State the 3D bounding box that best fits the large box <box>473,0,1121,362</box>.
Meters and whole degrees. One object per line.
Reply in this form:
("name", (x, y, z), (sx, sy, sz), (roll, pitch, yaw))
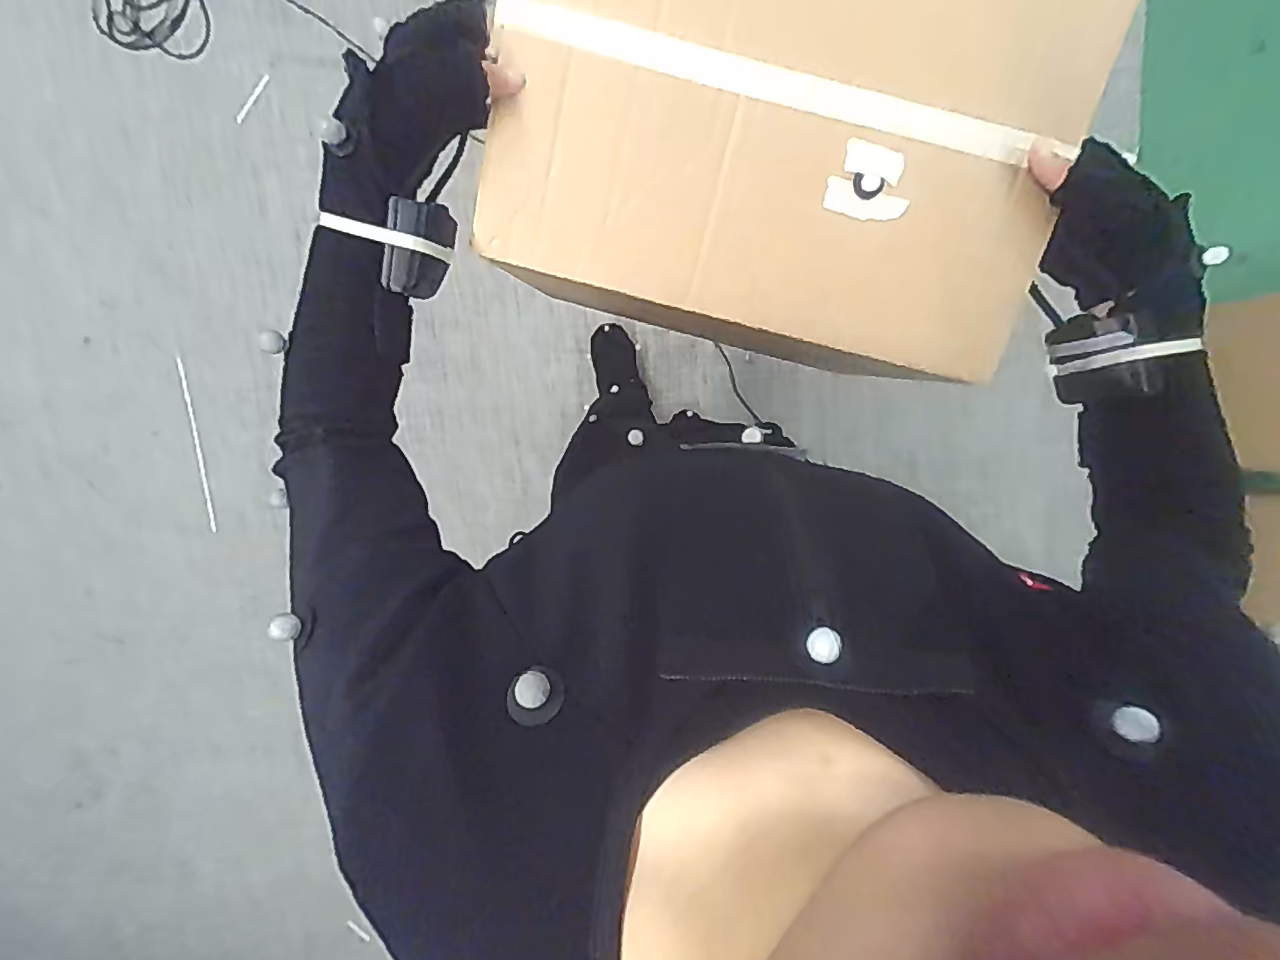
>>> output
("large box", (0.102, -0.309, 0.512), (0.408, 0.320, 0.320), (13, 104, -3))
